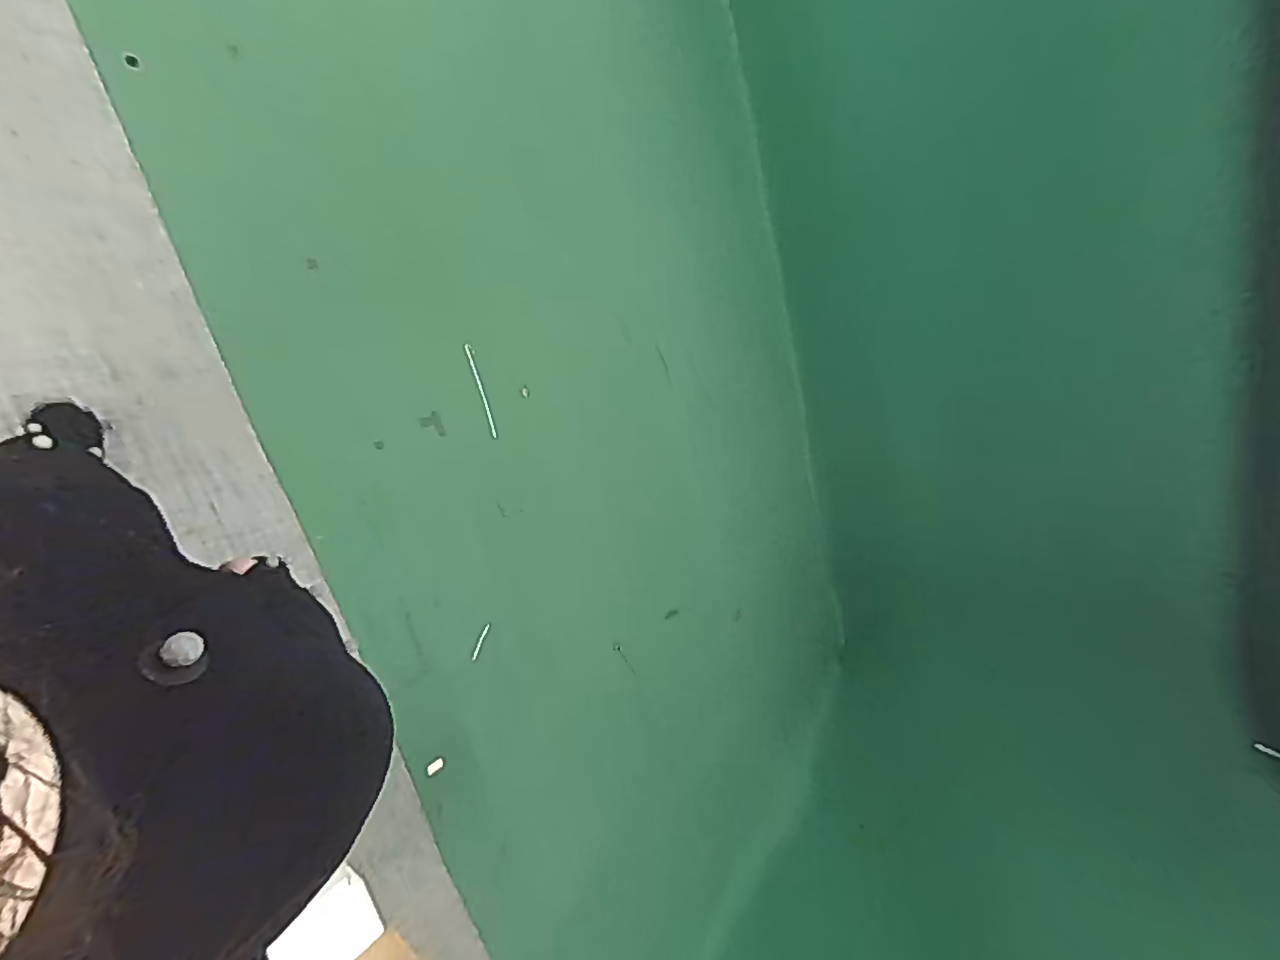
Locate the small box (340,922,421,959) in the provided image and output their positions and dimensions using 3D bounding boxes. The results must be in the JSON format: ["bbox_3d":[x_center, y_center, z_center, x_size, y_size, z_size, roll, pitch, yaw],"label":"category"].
[{"bbox_3d":[-0.418,0.853,0.839,0.179,0.176,0.168,-27,109,-47],"label":"small box"}]
